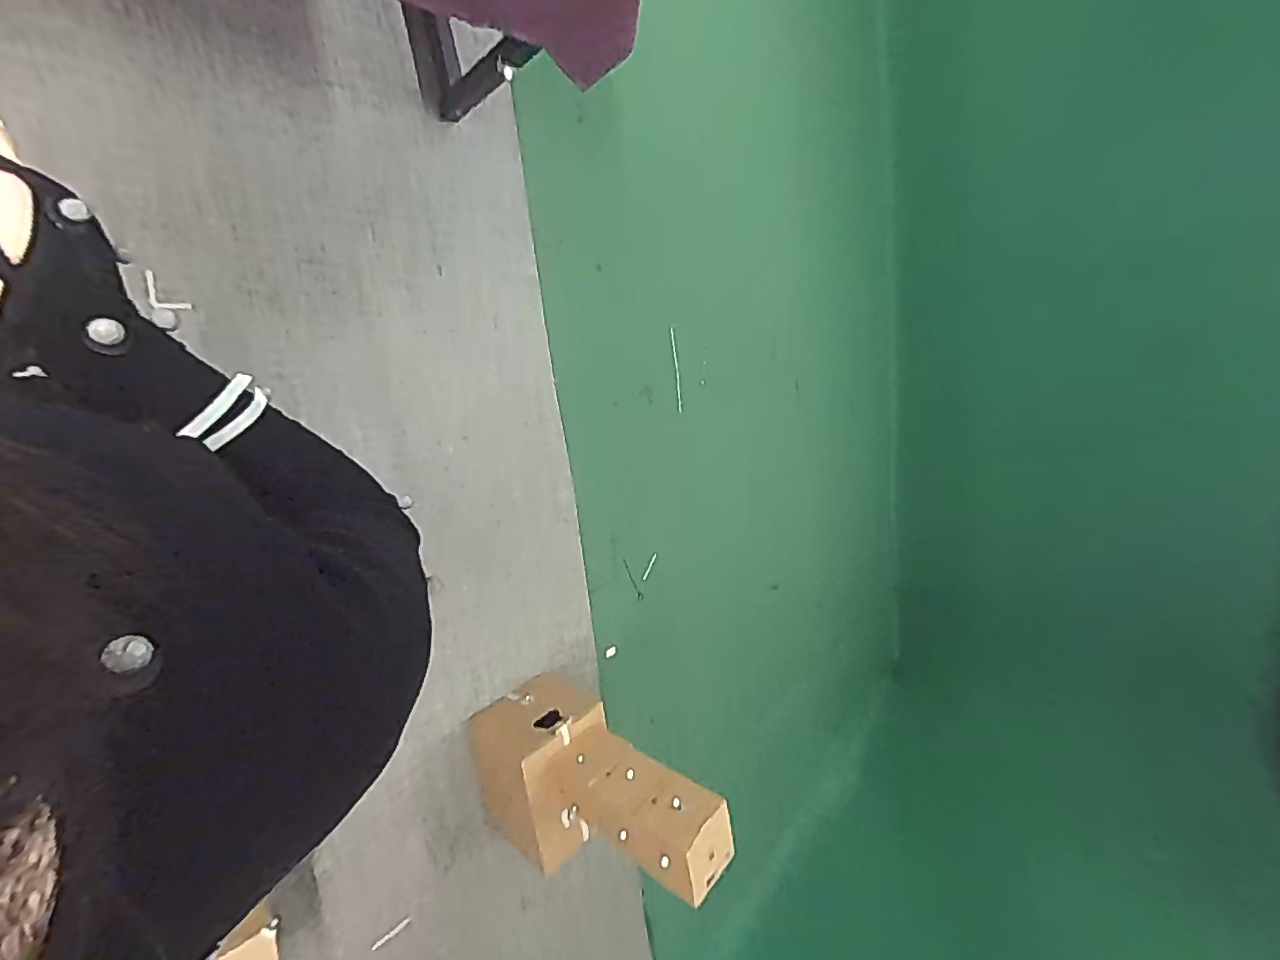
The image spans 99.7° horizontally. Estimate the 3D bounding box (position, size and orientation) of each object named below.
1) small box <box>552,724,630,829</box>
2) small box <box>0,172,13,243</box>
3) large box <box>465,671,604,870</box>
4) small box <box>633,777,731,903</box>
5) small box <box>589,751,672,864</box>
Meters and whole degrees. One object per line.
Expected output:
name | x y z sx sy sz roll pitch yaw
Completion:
small box | -0.137 0.847 1.565 0.179 0.176 0.168 -23 110 -44
small box | -0.494 -0.246 0.295 0.168 0.176 0.179 -16 100 -44
large box | -0.315 0.904 1.736 0.320 0.320 0.408 -21 109 -43
small box | 0.101 0.873 1.339 0.168 0.176 0.179 -25 111 -42
small box | -0.017 0.864 1.454 0.168 0.176 0.179 -27 113 -41
